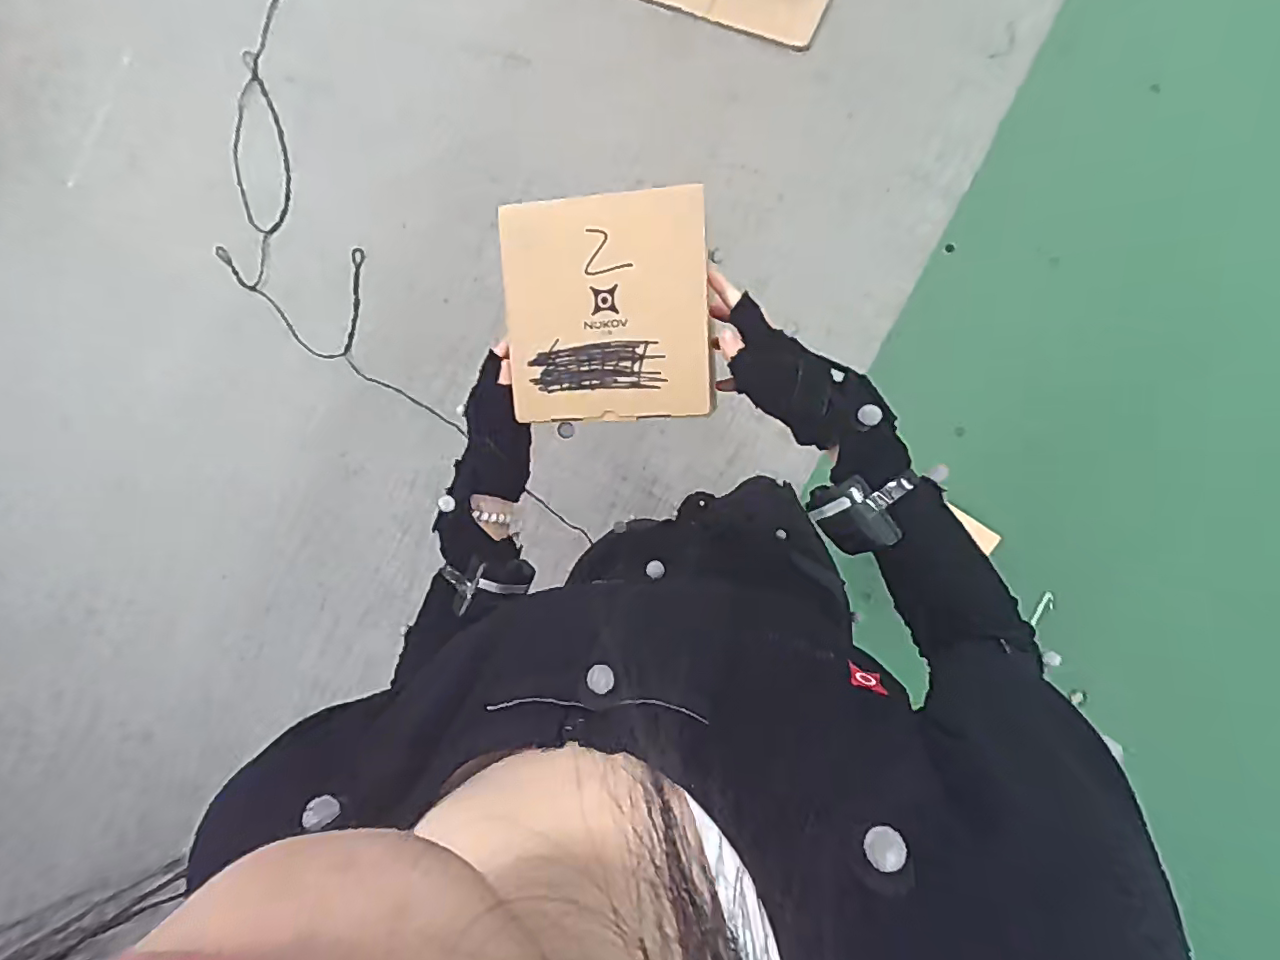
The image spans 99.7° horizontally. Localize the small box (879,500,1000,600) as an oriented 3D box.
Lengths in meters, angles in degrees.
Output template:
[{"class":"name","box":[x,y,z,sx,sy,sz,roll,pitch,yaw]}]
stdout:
[{"class":"small box","box":[0.719,0.162,1.325,0.168,0.176,0.179,35,93,7]}]
